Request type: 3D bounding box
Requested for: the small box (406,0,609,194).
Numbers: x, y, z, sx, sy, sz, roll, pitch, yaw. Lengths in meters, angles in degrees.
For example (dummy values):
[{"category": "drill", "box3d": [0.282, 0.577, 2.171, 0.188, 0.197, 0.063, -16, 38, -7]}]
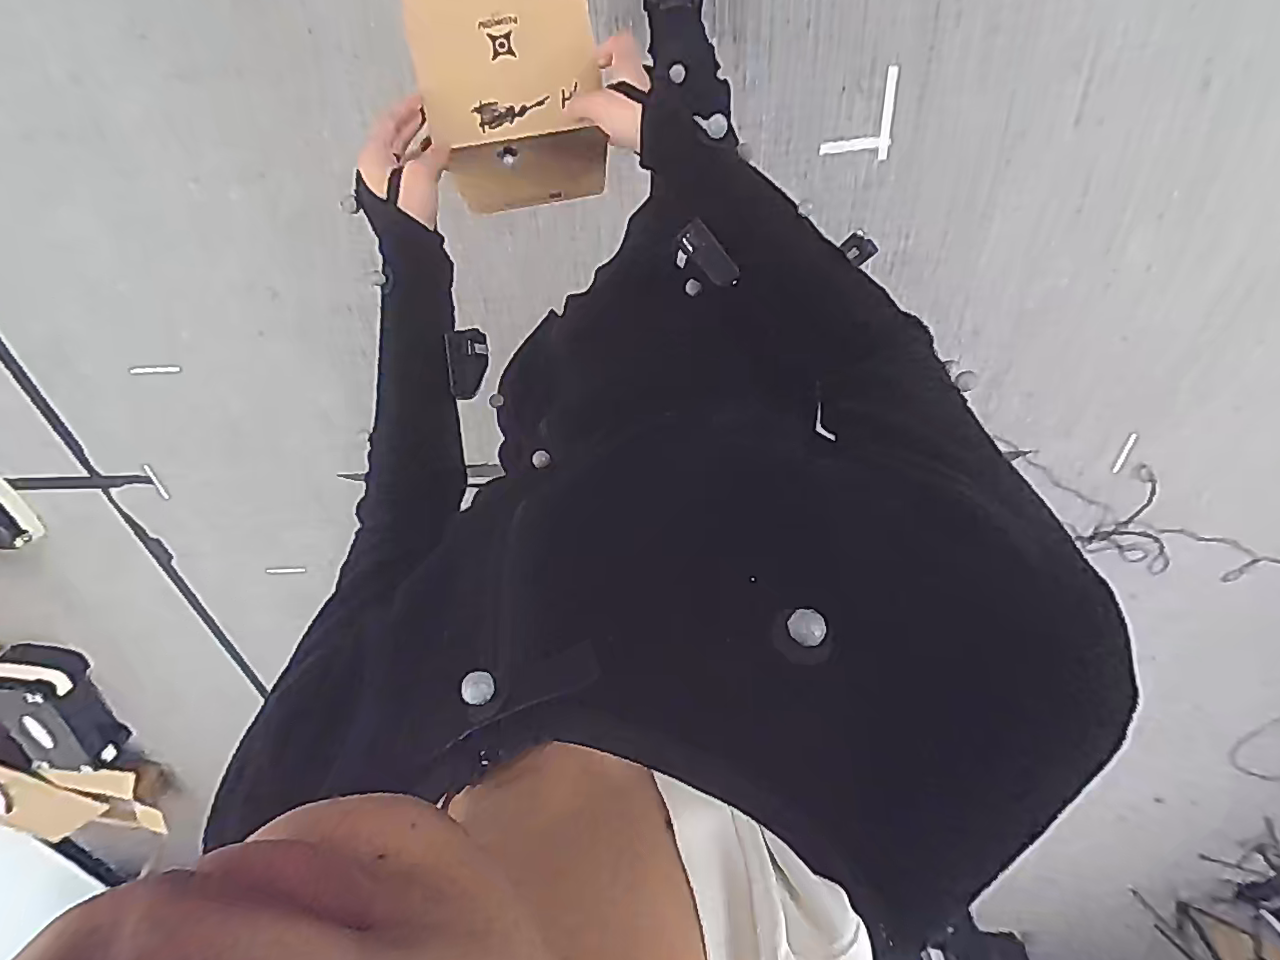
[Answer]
[{"category": "small box", "box3d": [-0.130, -0.426, 0.555, 0.168, 0.176, 0.179, -11, 98, -4]}]
